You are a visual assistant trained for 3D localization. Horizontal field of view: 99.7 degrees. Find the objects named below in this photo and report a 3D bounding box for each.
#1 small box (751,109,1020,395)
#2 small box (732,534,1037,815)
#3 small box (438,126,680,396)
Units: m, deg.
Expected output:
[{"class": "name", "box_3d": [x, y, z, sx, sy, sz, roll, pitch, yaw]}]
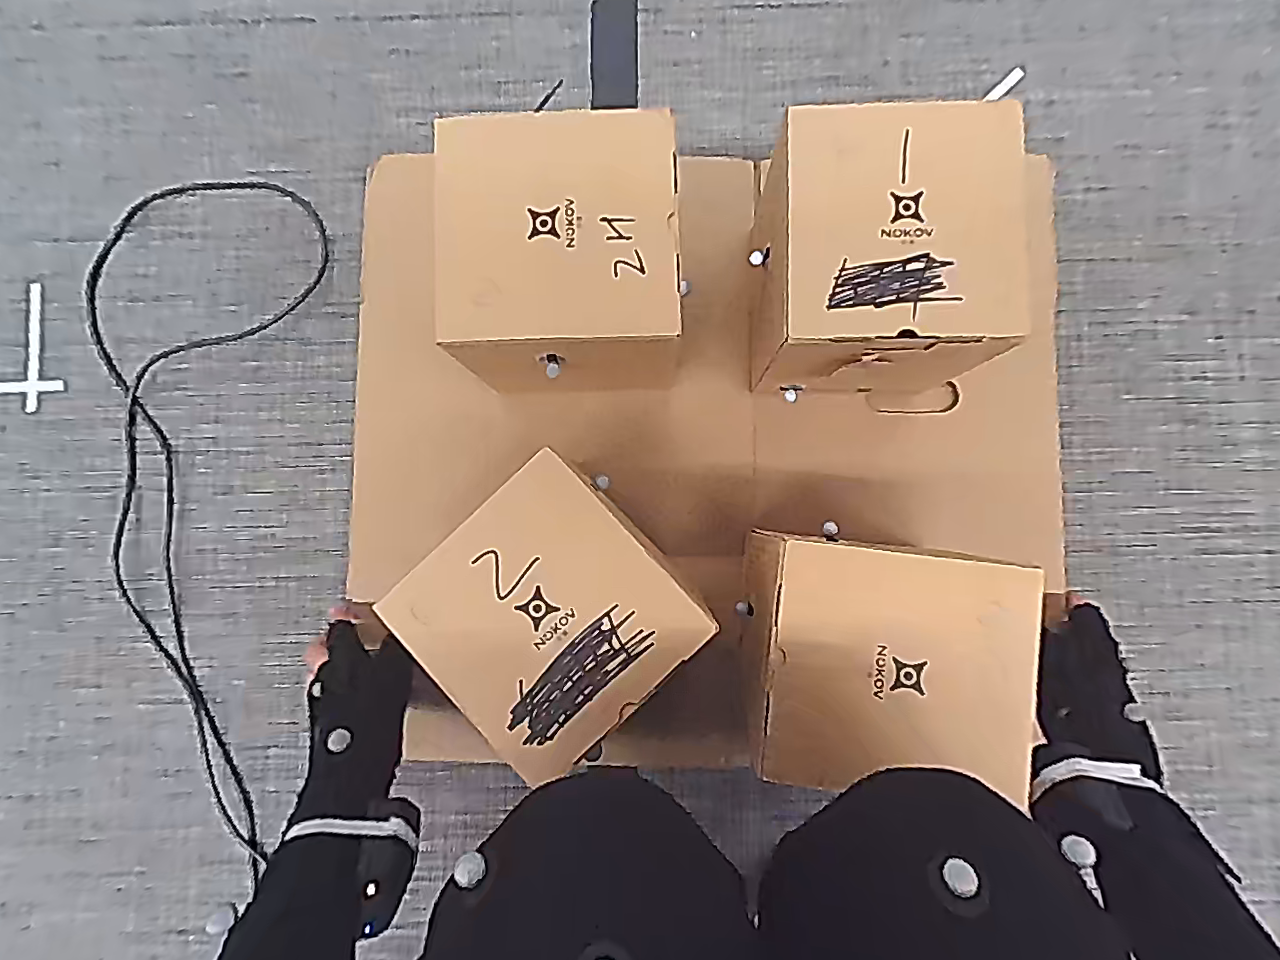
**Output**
[{"class": "small box", "box_3d": [0.190, -0.173, 0.464, 0.168, 0.176, 0.179, 1, 85, 4]}, {"class": "small box", "box_3d": [0.178, 0.136, 0.446, 0.179, 0.176, 0.168, 6, 87, 6]}, {"class": "small box", "box_3d": [-0.057, -0.170, 0.469, 0.179, 0.176, 0.168, -1, 87, 0]}]
